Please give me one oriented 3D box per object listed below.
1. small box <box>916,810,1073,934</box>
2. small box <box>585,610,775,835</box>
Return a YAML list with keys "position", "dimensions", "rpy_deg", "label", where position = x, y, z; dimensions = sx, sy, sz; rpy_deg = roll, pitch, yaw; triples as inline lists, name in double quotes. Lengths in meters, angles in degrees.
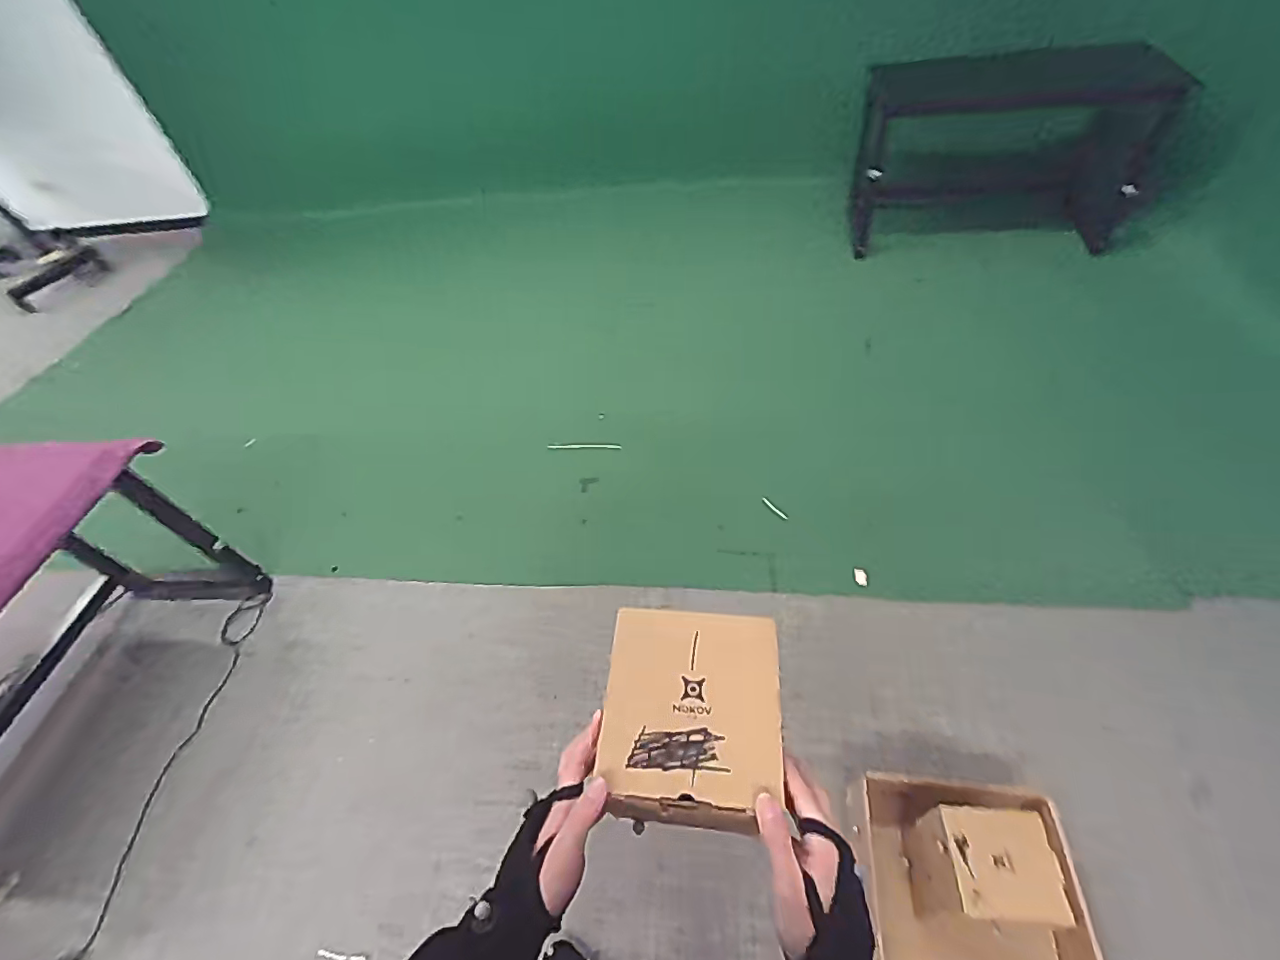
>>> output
- position: [0.651, 0.737, 1.019]
  dimensions: [0.179, 0.176, 0.168]
  rpy_deg: [1, 51, 8]
  label: "small box"
- position: [0.048, 0.257, 0.567]
  dimensions: [0.168, 0.176, 0.179]
  rpy_deg: [2, 51, 7]
  label: "small box"
